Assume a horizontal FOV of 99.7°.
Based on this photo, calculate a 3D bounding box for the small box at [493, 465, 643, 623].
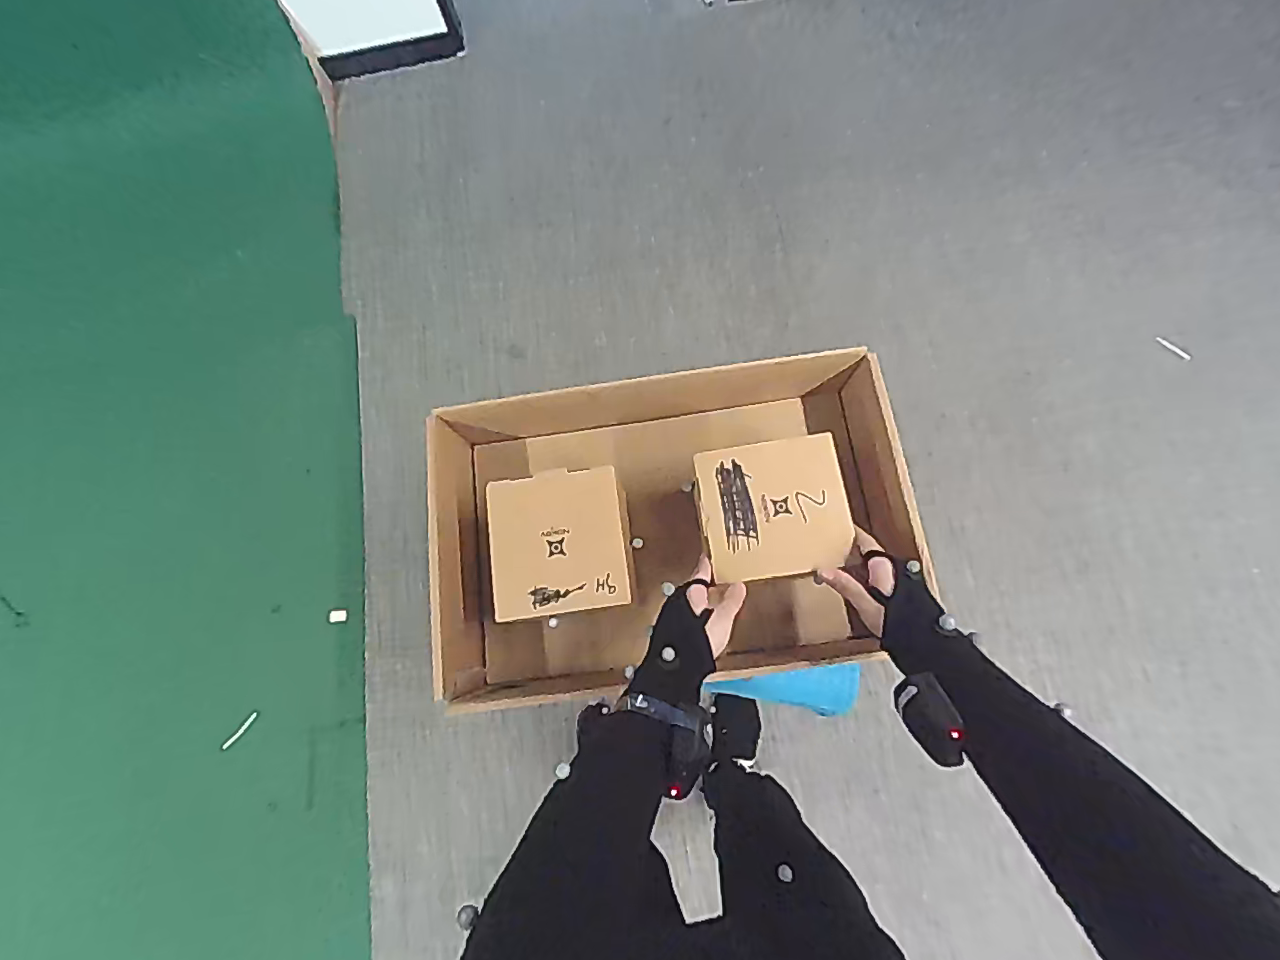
[{"bbox_3d":[-0.091,0.095,0.735,0.168,0.176,0.179,-8,74,3],"label":"small box"}]
